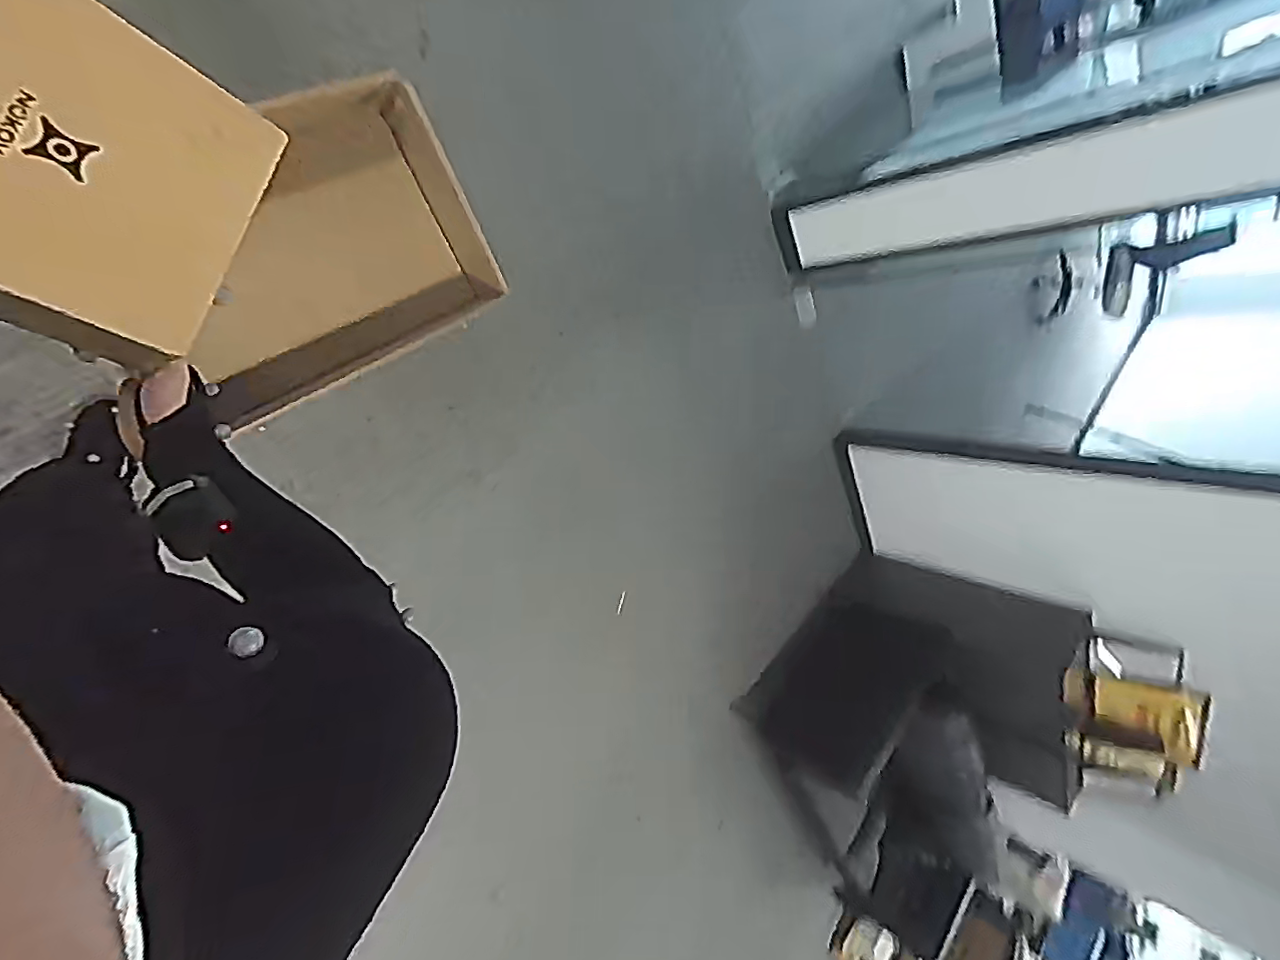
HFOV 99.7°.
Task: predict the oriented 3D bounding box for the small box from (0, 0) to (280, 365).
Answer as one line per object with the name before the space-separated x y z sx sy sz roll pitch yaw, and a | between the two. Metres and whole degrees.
small box | -0.372 -0.186 0.339 0.179 0.176 0.168 25 80 -46
